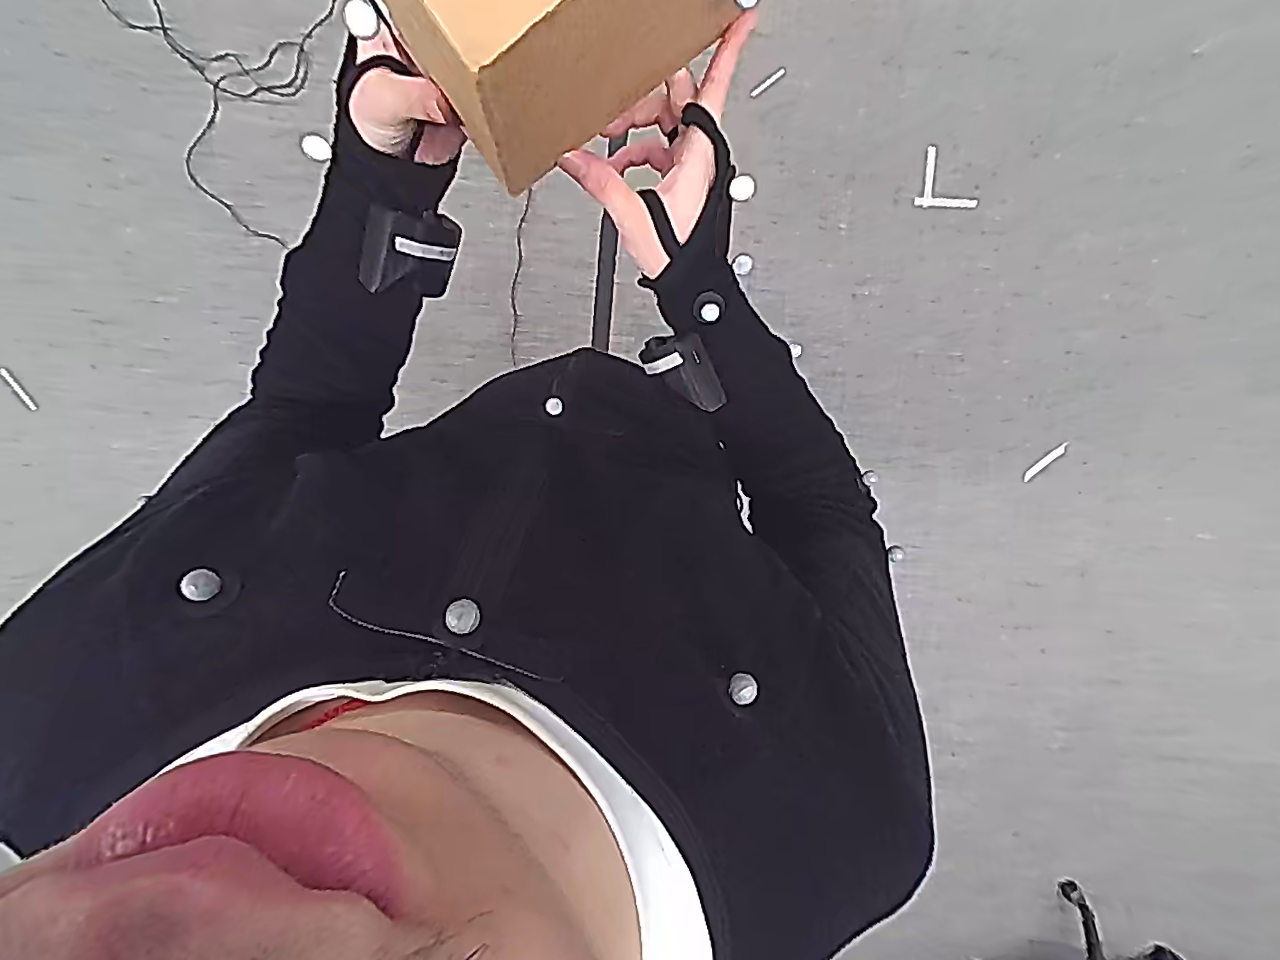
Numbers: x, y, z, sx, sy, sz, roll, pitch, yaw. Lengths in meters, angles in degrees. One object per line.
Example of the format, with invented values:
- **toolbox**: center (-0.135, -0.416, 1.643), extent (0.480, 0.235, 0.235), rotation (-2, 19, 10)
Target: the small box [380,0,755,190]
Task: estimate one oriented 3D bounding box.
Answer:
- **small box**: center (-0.037, -0.264, 0.229), extent (0.179, 0.176, 0.168), rotation (-38, 107, 3)
